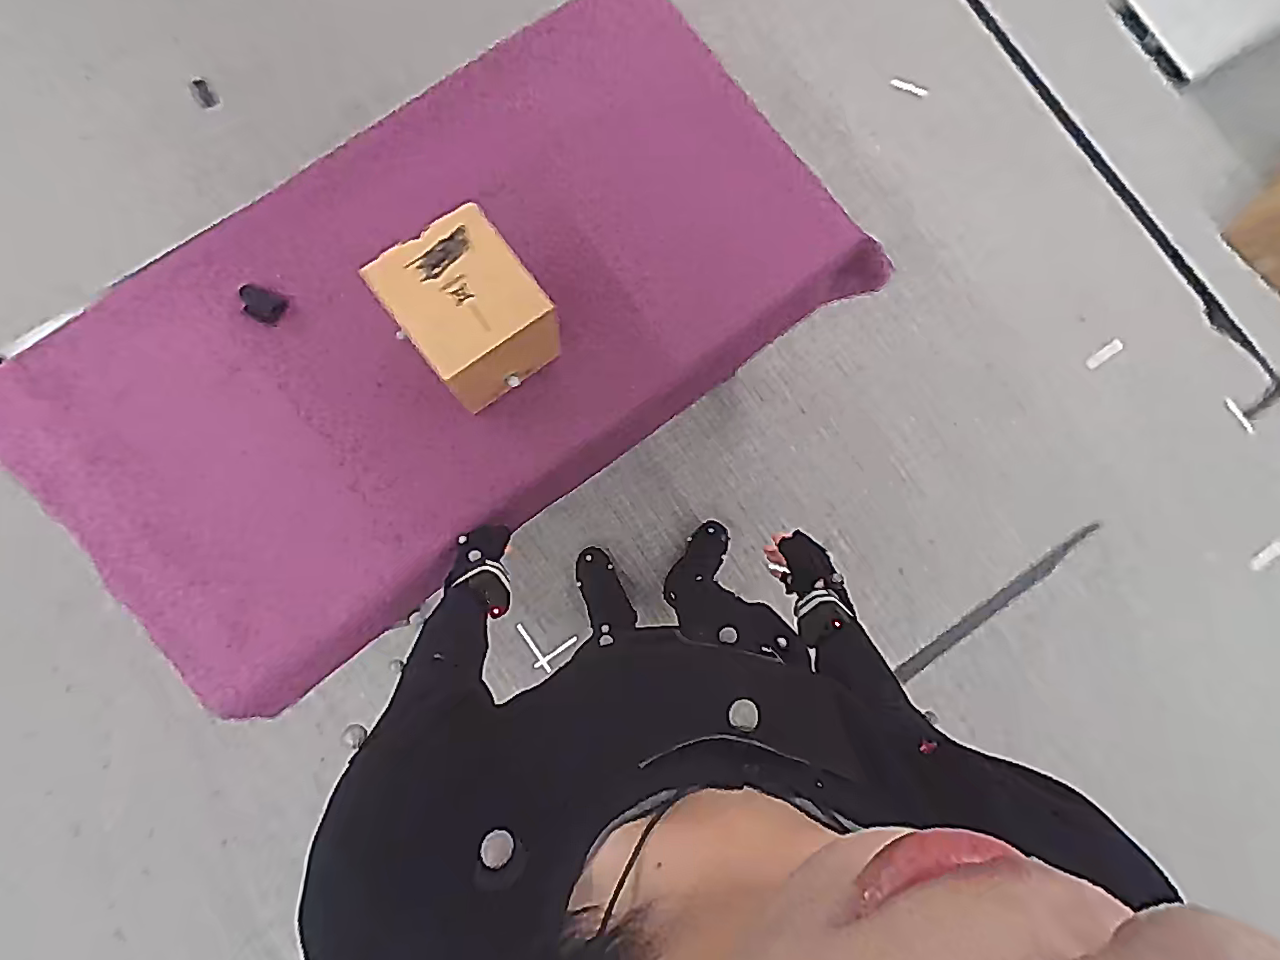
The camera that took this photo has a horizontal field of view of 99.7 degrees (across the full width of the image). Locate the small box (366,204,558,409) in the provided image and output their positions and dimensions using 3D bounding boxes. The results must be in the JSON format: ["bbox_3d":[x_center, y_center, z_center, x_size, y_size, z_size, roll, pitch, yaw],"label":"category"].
[{"bbox_3d":[-0.229,-0.225,0.745,0.168,0.176,0.179,-38,87,-9],"label":"small box"}]
